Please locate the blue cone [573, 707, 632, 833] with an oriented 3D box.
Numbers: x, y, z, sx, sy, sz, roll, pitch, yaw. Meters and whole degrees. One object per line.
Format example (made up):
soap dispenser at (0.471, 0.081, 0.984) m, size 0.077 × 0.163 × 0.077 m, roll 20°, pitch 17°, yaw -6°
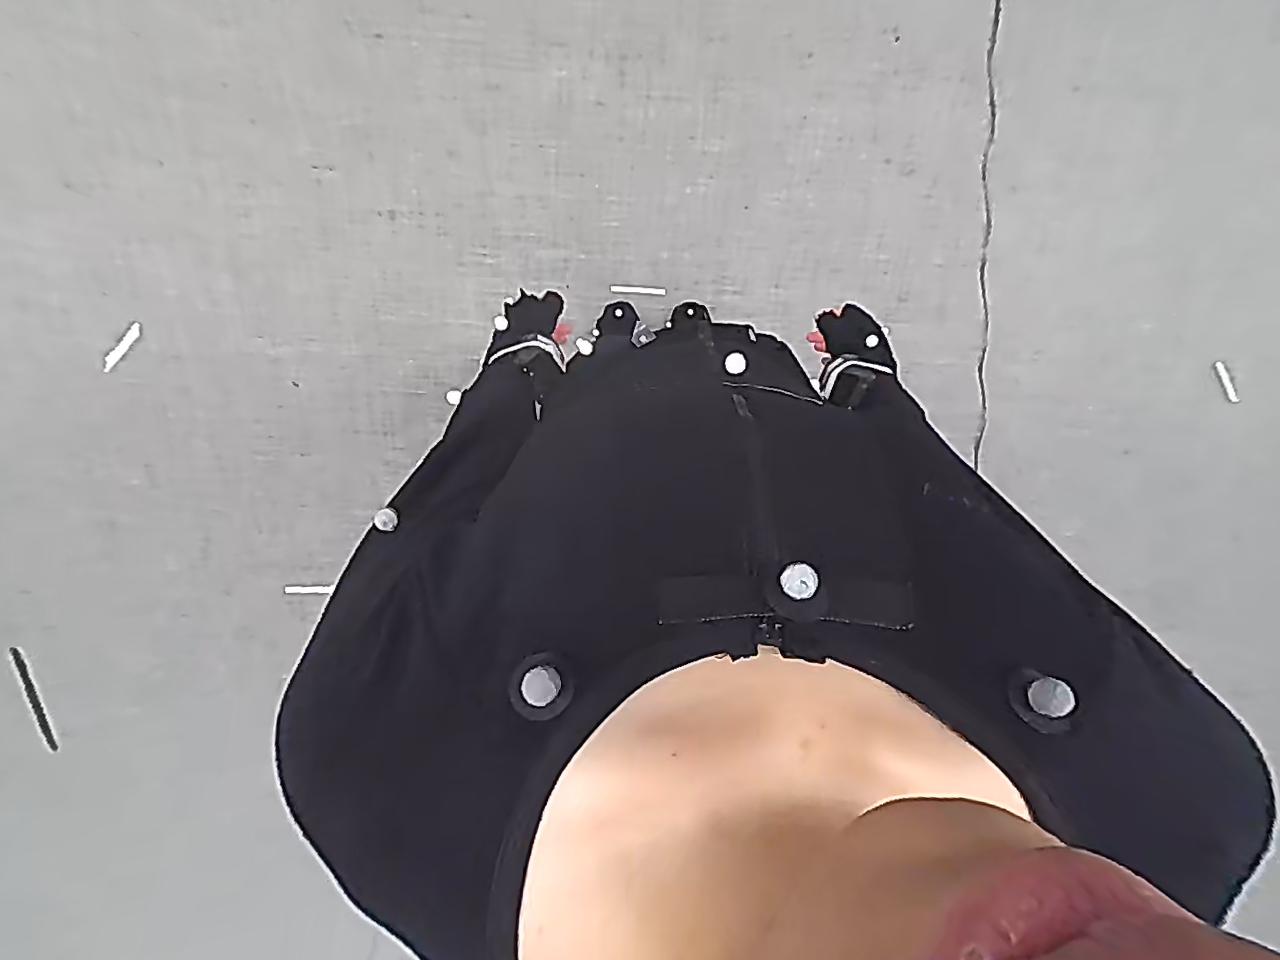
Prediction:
blue cone at (-0.121, 0.872, 1.619) m, size 0.192 × 0.380 × 0.193 m, roll -1°, pitch 107°, yaw 0°
